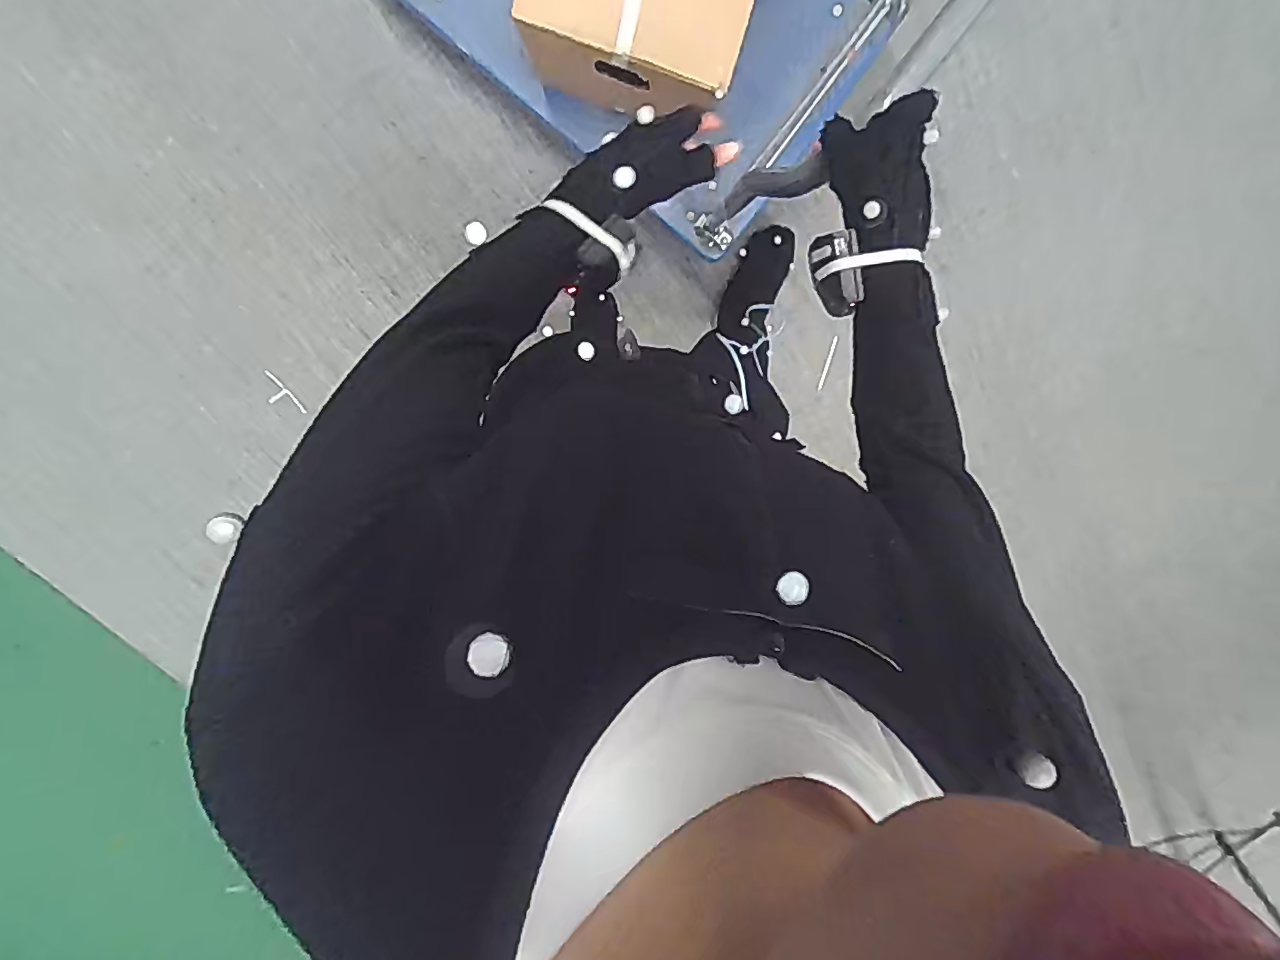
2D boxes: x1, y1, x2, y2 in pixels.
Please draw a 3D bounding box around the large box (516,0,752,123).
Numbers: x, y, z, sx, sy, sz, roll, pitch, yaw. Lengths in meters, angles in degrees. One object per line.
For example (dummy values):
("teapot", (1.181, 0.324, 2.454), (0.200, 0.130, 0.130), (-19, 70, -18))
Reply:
("large box", (0.024, -0.834, 0.808), (0.320, 0.320, 0.408), (15, 113, -8))
